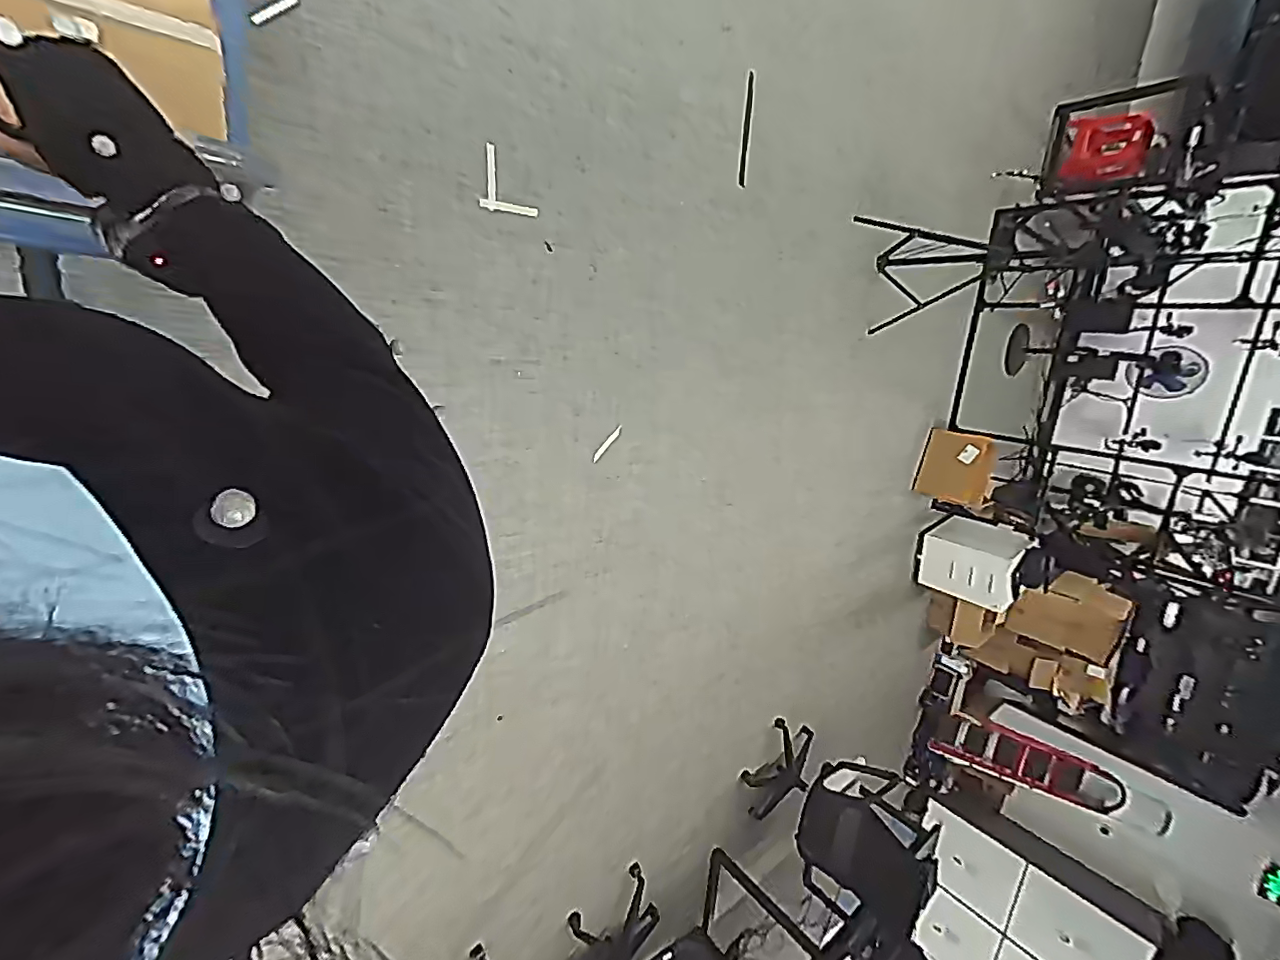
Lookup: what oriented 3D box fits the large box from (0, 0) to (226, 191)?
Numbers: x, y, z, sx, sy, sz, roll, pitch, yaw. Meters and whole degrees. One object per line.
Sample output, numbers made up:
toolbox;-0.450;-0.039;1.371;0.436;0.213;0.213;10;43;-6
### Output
large box;-0.824;-0.607;0.704;0.408;0.320;0.320;-9;110;-41
